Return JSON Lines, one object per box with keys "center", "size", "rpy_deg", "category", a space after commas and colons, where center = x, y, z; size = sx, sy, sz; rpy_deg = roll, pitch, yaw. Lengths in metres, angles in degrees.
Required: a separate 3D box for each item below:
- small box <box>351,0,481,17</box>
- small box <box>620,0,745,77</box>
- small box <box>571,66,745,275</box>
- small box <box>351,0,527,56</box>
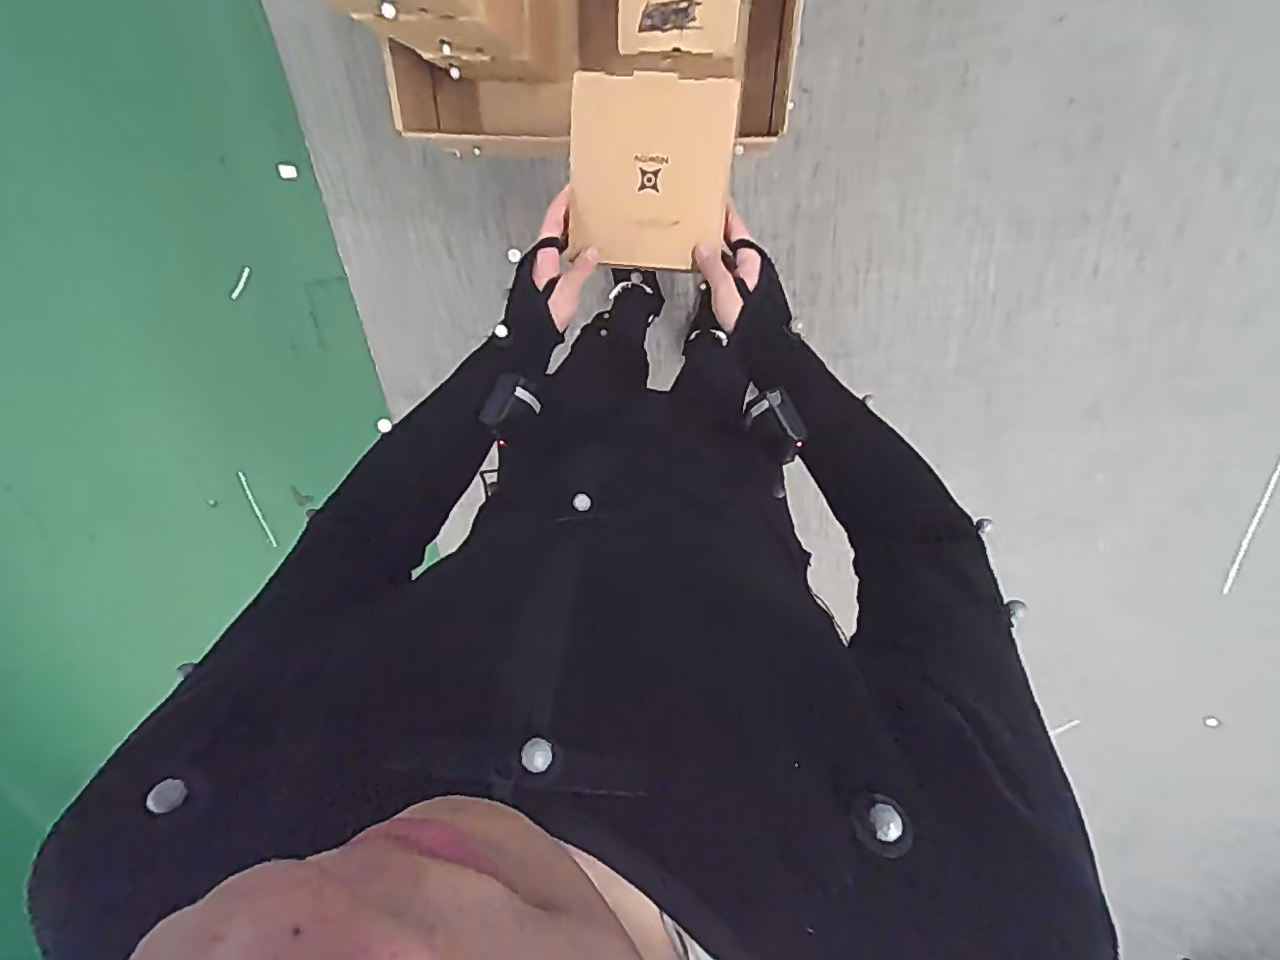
{"center": [-0.264, -0.583, 0.517], "size": [0.168, 0.176, 0.179], "rpy_deg": [7, 118, 5], "category": "small box"}
{"center": [0.068, -0.702, 0.777], "size": [0.168, 0.176, 0.179], "rpy_deg": [6, 117, 5], "category": "small box"}
{"center": [0.019, -0.339, 0.627], "size": [0.168, 0.176, 0.179], "rpy_deg": [6, 110, 3], "category": "small box"}
{"center": [-0.244, -0.654, 0.664], "size": [0.168, 0.176, 0.179], "rpy_deg": [6, 118, 5], "category": "small box"}
